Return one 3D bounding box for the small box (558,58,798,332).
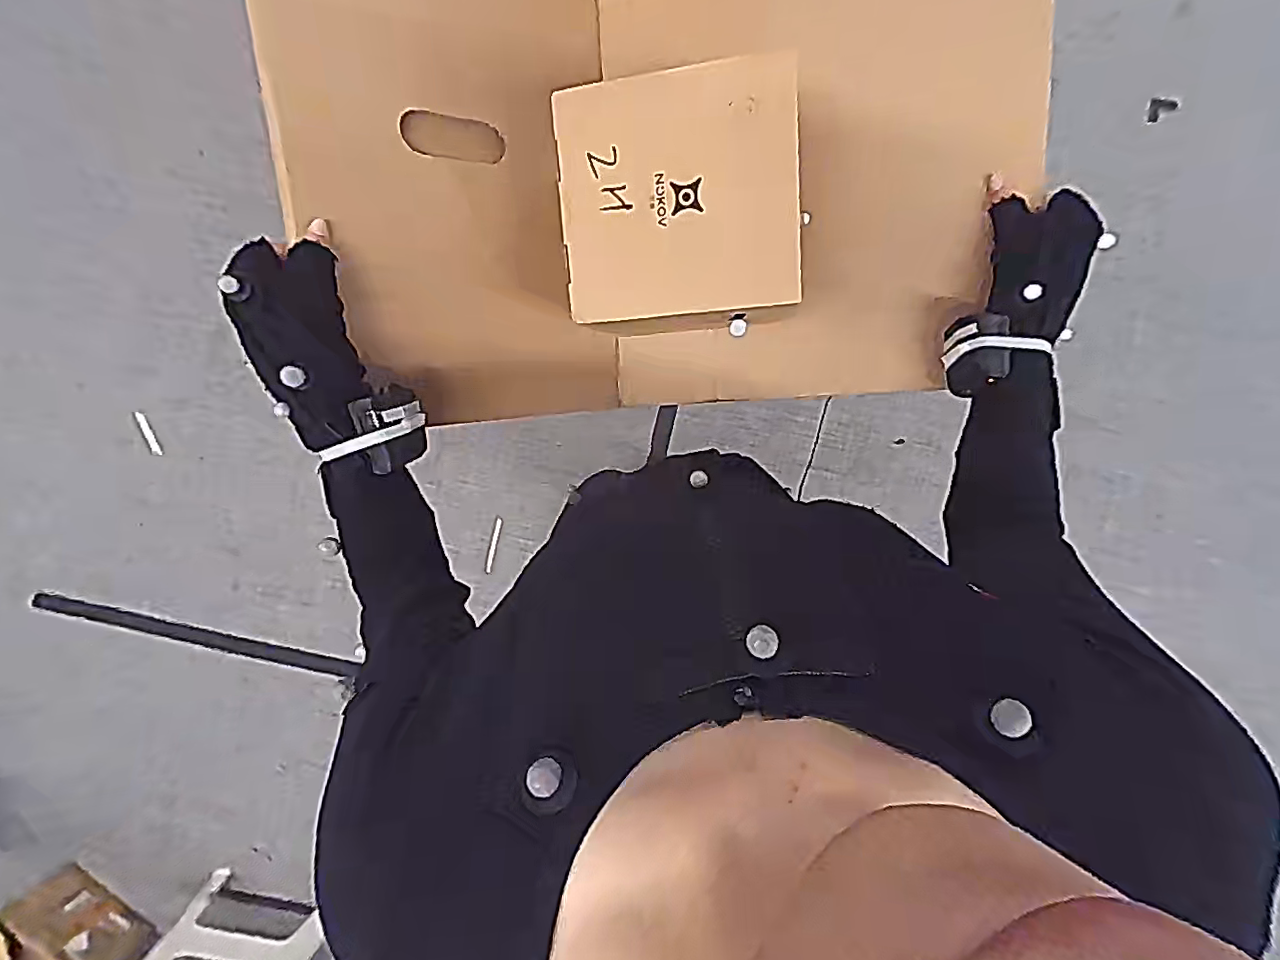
[{"bbox_3d":[0.041,-0.225,0.478,0.179,0.176,0.168,-1,100,12],"label":"small box"}]
